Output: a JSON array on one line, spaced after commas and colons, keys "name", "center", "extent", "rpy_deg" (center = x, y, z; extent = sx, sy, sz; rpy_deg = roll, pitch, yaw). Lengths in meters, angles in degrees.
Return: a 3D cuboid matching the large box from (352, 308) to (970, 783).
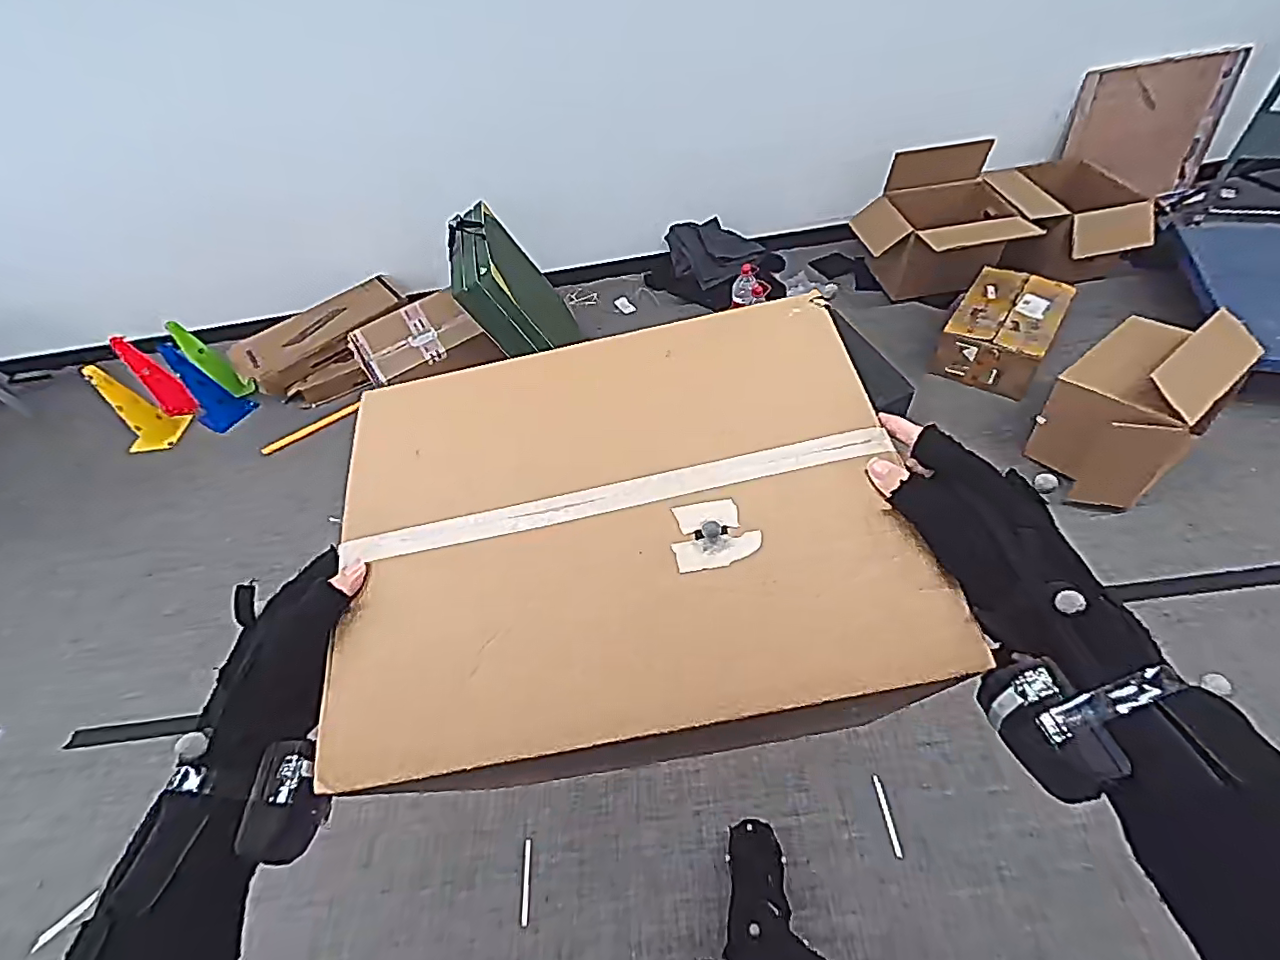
[{"name": "large box", "center": [0.004, 0.090, 0.537], "extent": [0.408, 0.320, 0.320], "rpy_deg": [-12, 60, 2]}]
